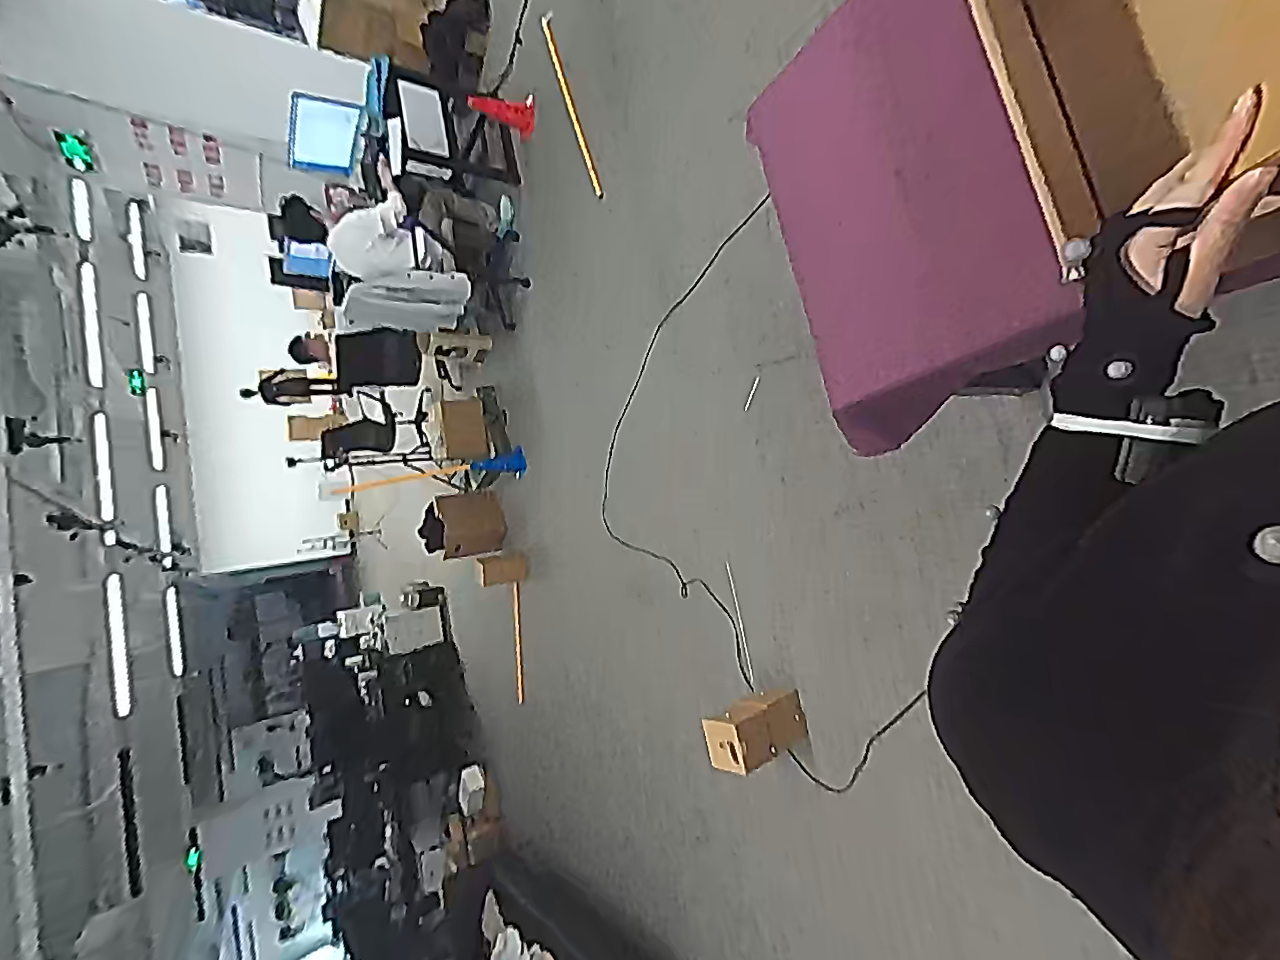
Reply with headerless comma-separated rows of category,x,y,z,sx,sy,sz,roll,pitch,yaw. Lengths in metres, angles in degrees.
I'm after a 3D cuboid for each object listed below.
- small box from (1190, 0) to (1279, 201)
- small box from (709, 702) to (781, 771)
small box,0.414,-0.246,0.235,0.179,0.168,0.176,5,96,15
small box,0.377,0.902,1.917,0.179,0.176,0.168,-26,74,55
